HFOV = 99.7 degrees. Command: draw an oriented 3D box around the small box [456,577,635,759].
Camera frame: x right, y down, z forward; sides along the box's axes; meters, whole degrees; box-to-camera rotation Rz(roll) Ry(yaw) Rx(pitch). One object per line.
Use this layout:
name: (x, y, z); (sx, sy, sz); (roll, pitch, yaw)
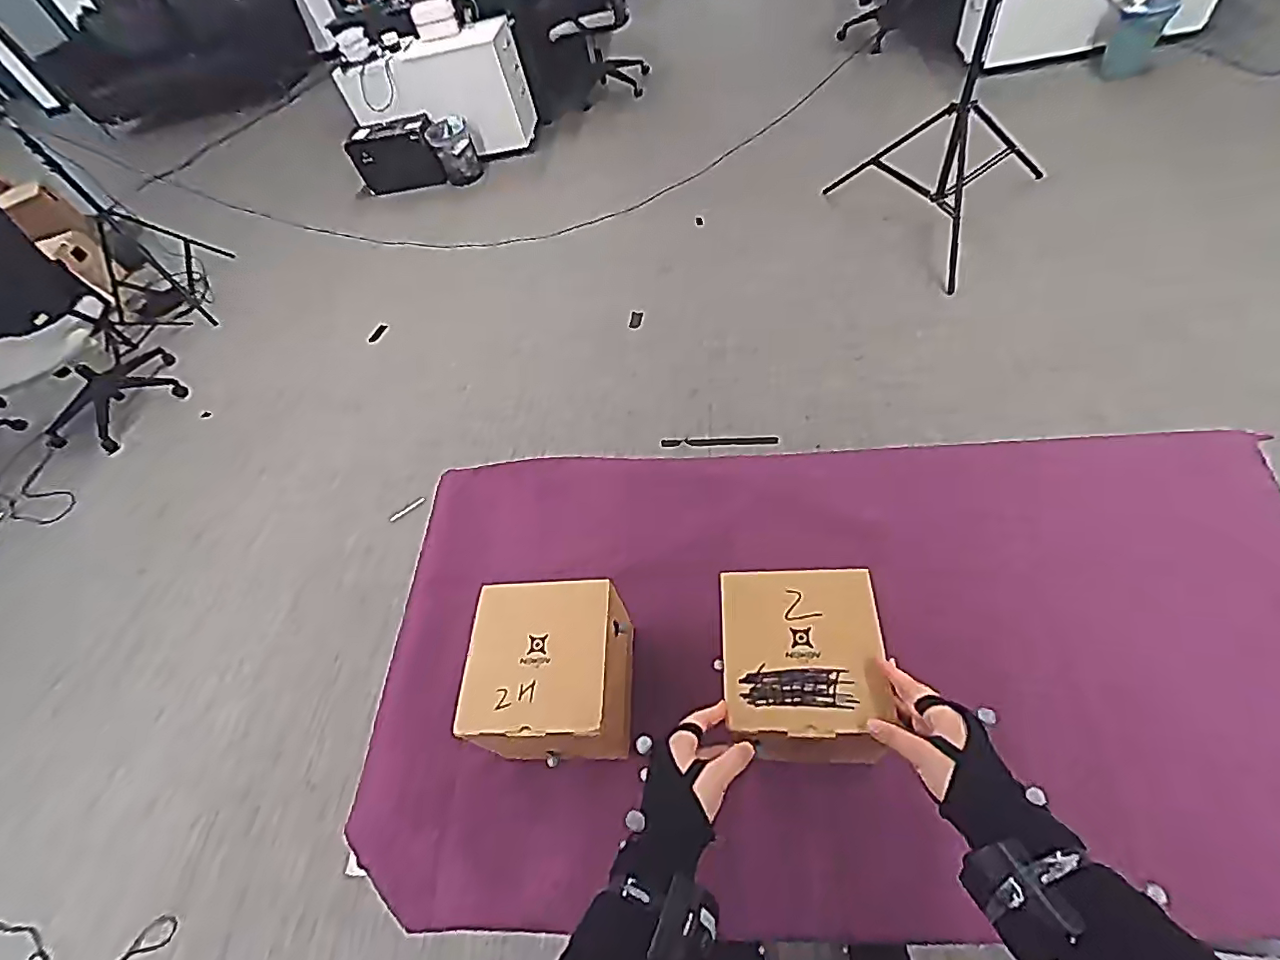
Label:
small box: (-0.102, 0.237, 0.676); (0.168, 0.176, 0.179); (-4, 55, 9)
